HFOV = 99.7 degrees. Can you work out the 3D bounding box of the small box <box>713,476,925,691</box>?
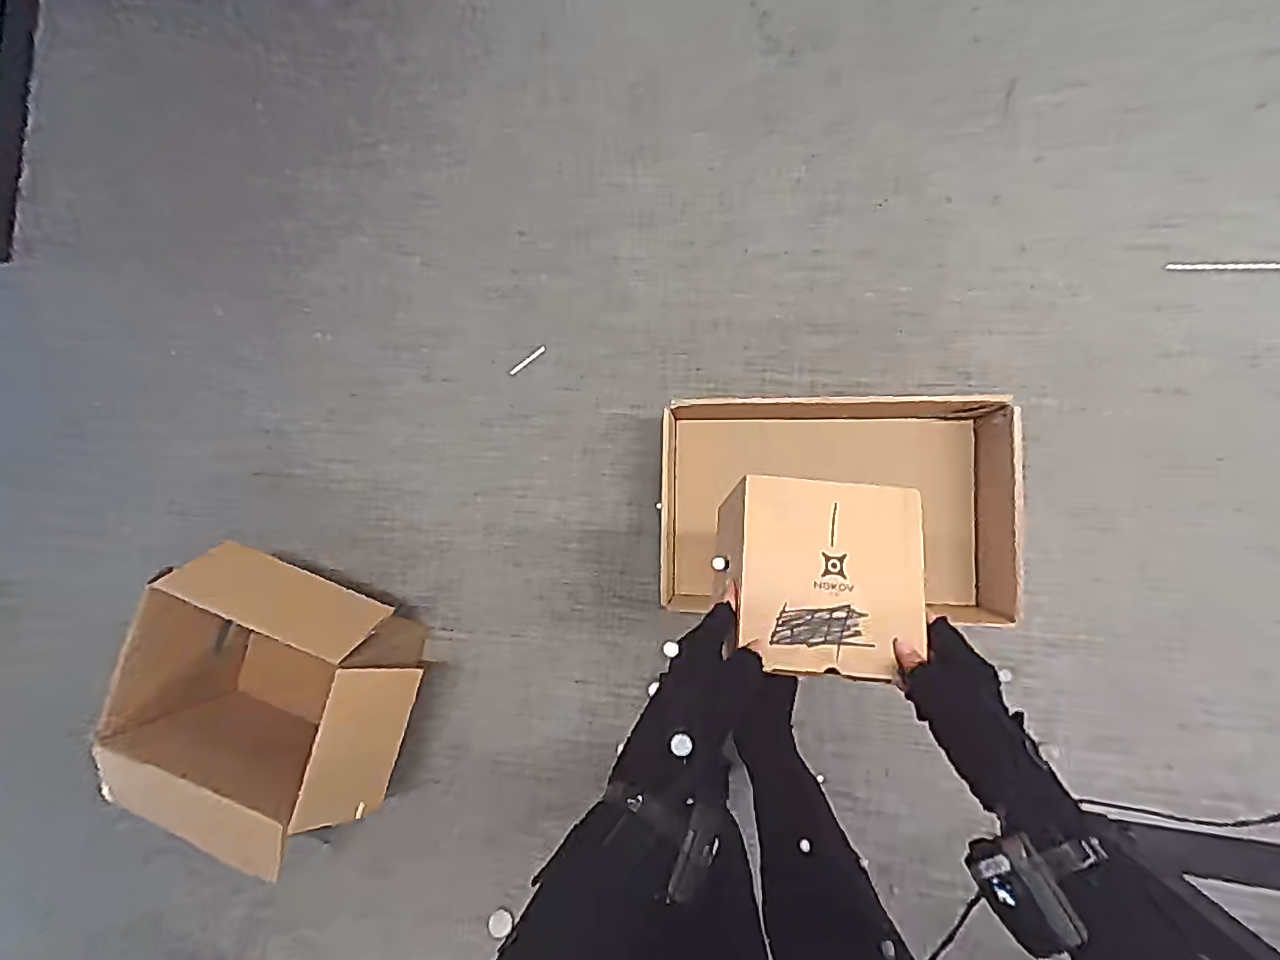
[{"bbox_3d":[0.172,0.108,0.561,0.168,0.176,0.179,6,75,1],"label":"small box"}]
